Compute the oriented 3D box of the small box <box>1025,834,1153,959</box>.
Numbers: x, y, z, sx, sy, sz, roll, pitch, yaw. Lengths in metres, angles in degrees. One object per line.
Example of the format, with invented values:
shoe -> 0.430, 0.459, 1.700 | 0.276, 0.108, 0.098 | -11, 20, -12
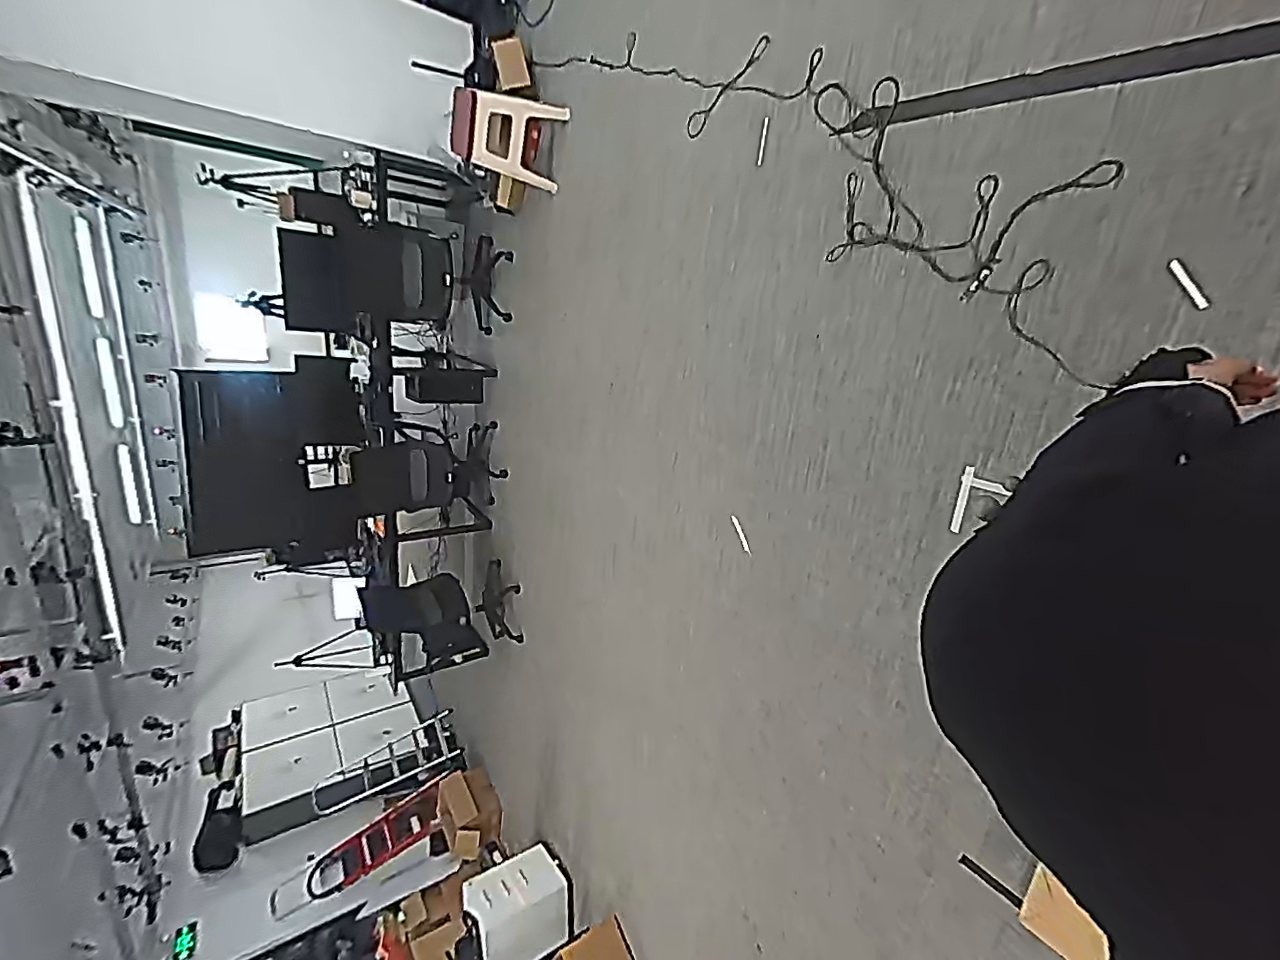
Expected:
small box -> 0.965, 0.889, 1.160 | 0.168, 0.176, 0.179 | 25, 116, 50
